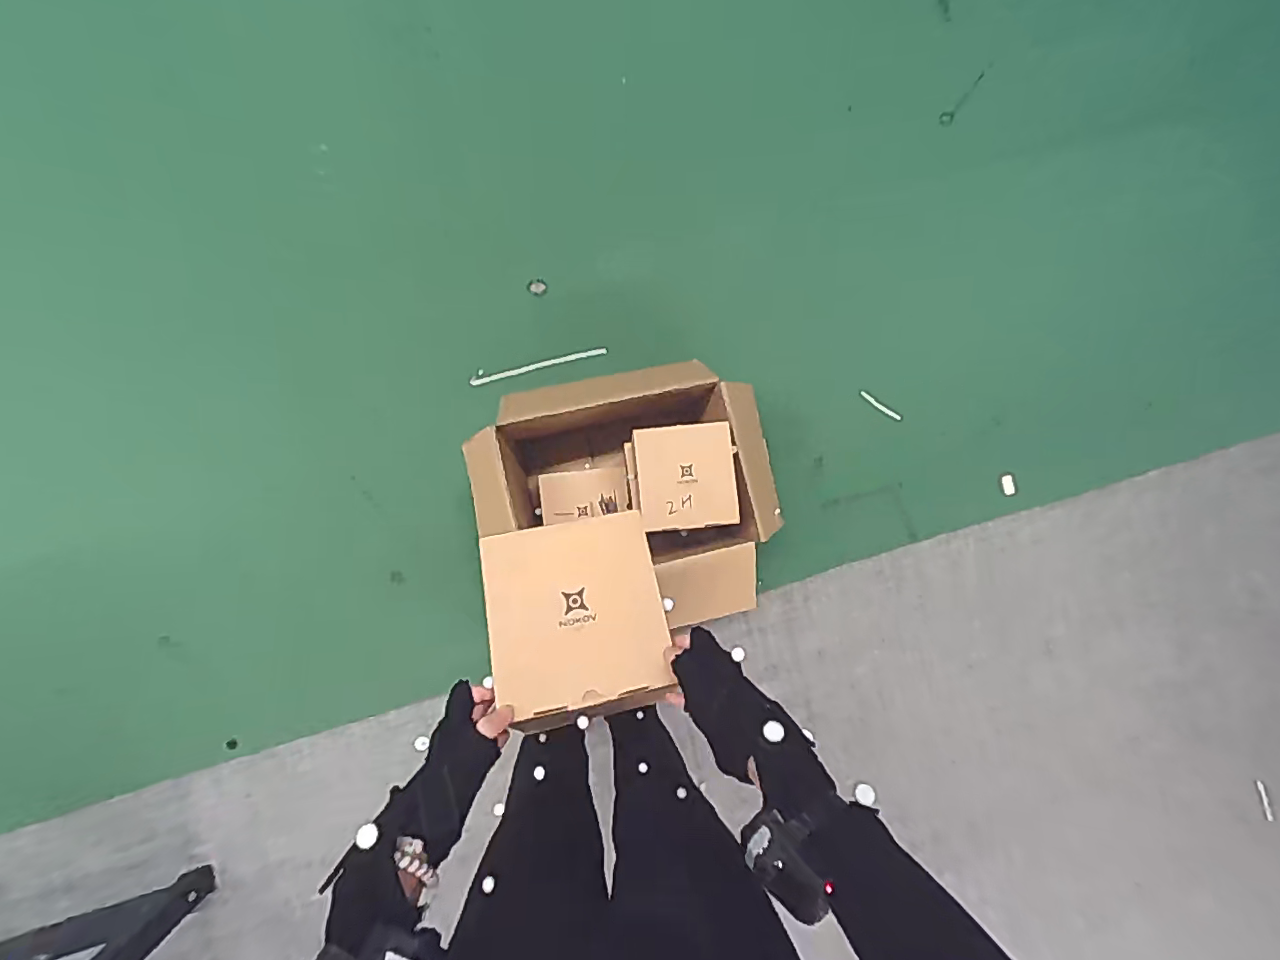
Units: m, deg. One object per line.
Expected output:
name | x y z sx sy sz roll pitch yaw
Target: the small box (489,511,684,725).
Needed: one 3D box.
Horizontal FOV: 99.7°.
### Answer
small box | -0.065 0.154 0.585 0.168 0.176 0.179 -9 66 -11
